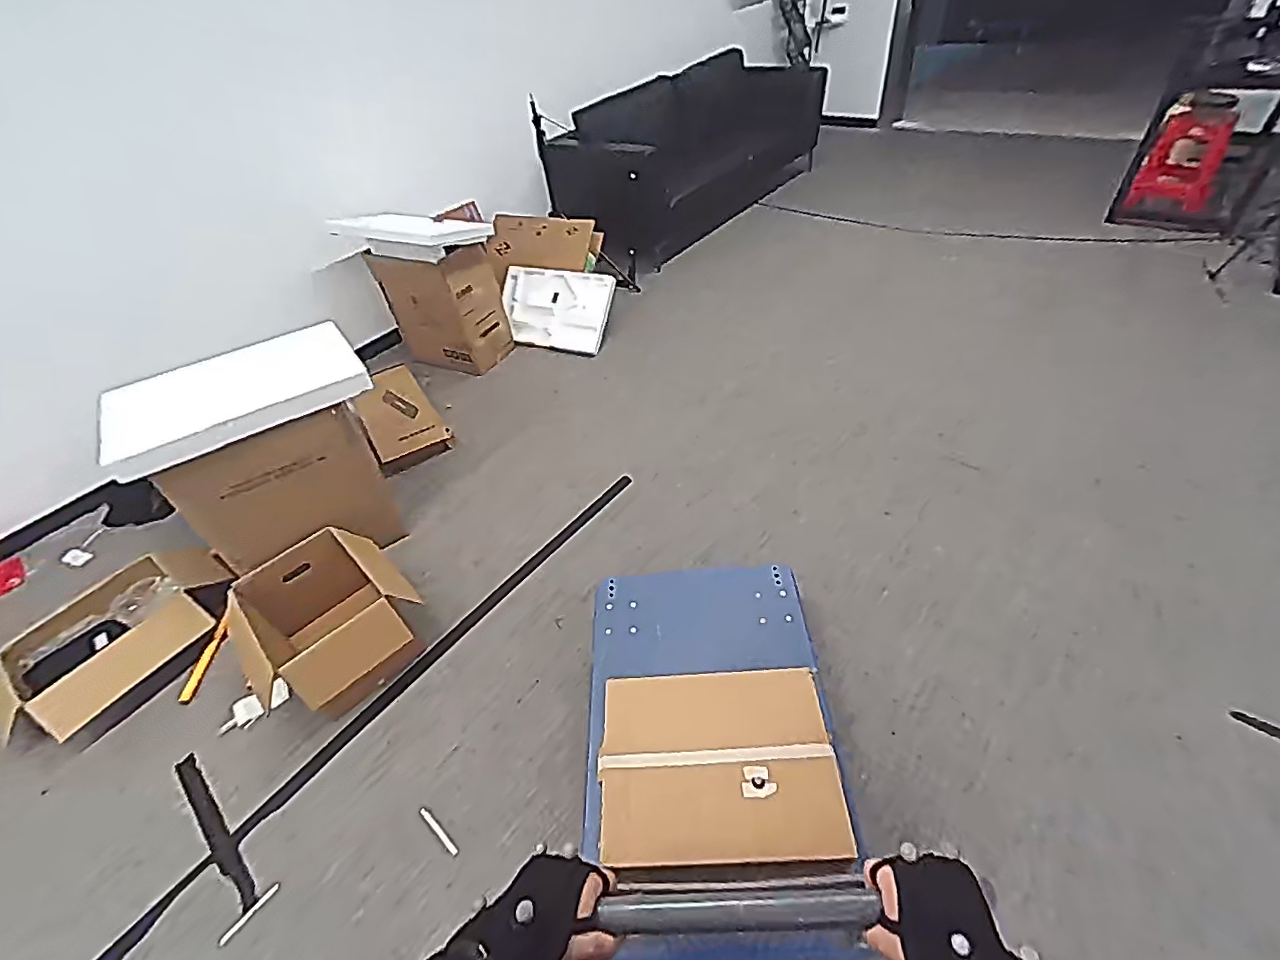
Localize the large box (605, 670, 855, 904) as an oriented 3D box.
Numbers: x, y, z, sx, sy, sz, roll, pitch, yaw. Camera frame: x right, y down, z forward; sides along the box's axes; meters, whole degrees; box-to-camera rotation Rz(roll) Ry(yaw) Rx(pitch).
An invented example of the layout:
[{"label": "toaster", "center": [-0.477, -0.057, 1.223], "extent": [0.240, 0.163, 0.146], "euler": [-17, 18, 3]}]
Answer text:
[{"label": "large box", "center": [0.148, 0.601, 1.058], "extent": [0.408, 0.320, 0.320], "euler": [-4, 44, 3]}]
